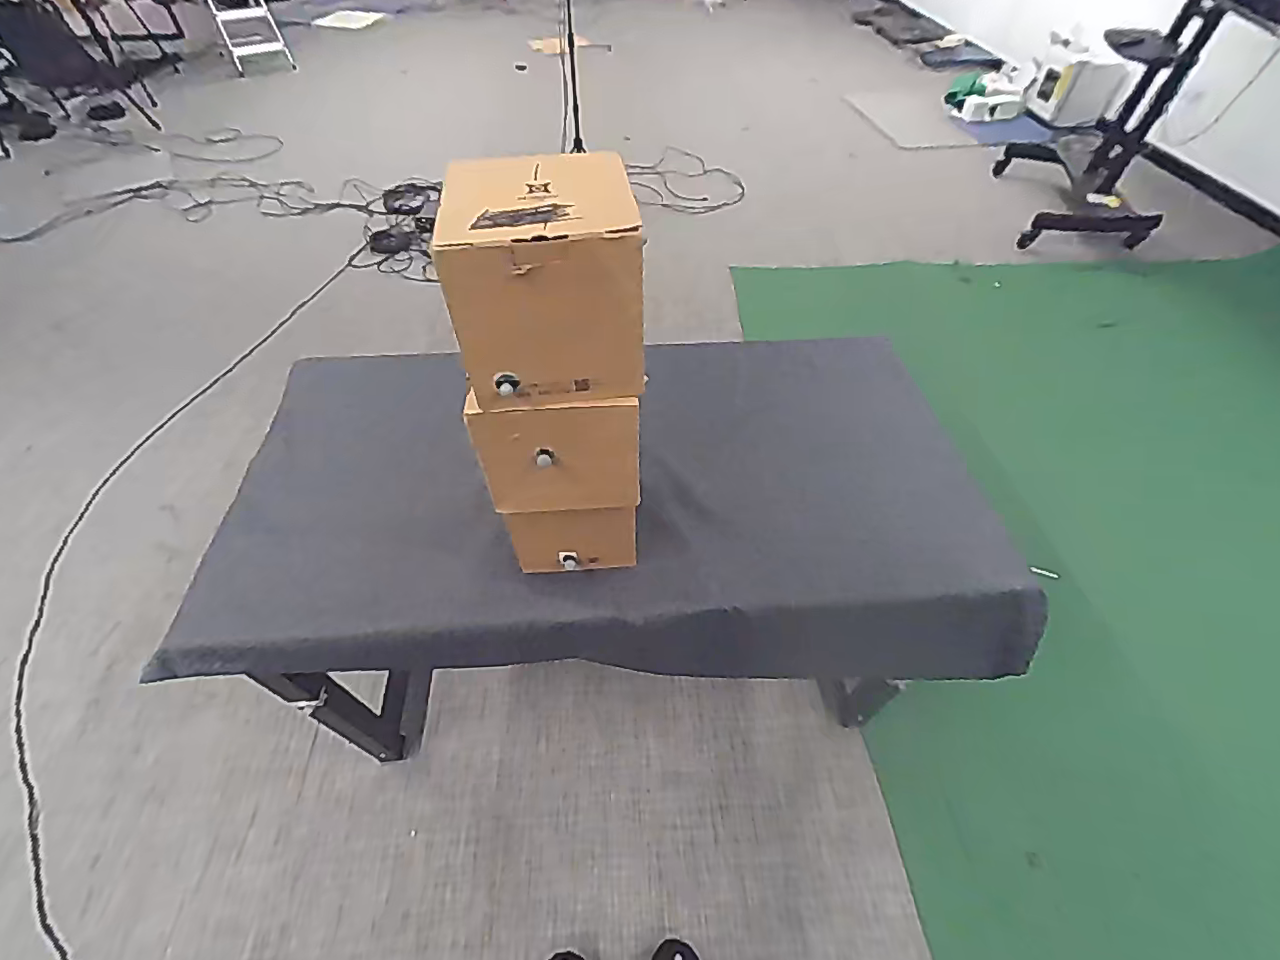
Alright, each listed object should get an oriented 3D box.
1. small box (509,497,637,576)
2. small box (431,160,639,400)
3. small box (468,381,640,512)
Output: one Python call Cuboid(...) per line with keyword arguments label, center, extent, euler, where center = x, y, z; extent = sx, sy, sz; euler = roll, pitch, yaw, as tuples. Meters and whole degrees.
Cuboid(label="small box", center=(-0.094, 0.019, 0.791), extent=(0.168, 0.176, 0.179), euler=(-5, 50, -3))
Cuboid(label="small box", center=(-0.092, -0.193, 0.540), extent=(0.168, 0.176, 0.179), euler=(-6, 48, -5))
Cuboid(label="small box", center=(-0.094, -0.075, 0.659), extent=(0.179, 0.176, 0.168), euler=(-5, 47, -4))
